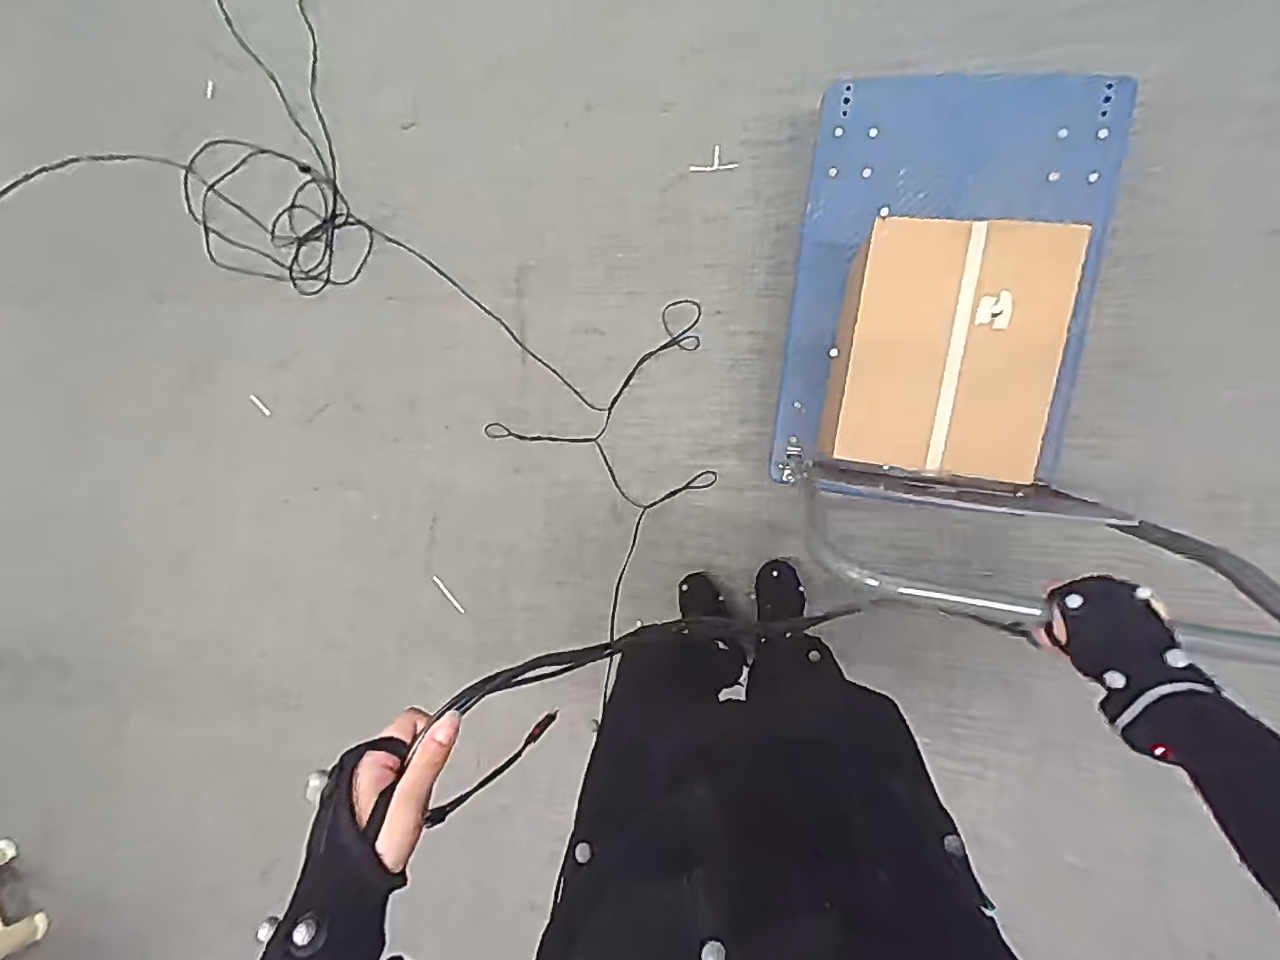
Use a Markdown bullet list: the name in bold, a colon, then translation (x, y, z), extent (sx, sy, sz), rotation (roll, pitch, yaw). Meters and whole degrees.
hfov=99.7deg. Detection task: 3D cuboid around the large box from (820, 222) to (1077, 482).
- **large box**: translation (0.539, -0.224, 1.032), extent (0.320, 0.320, 0.408), rotation (9, 97, 12)
